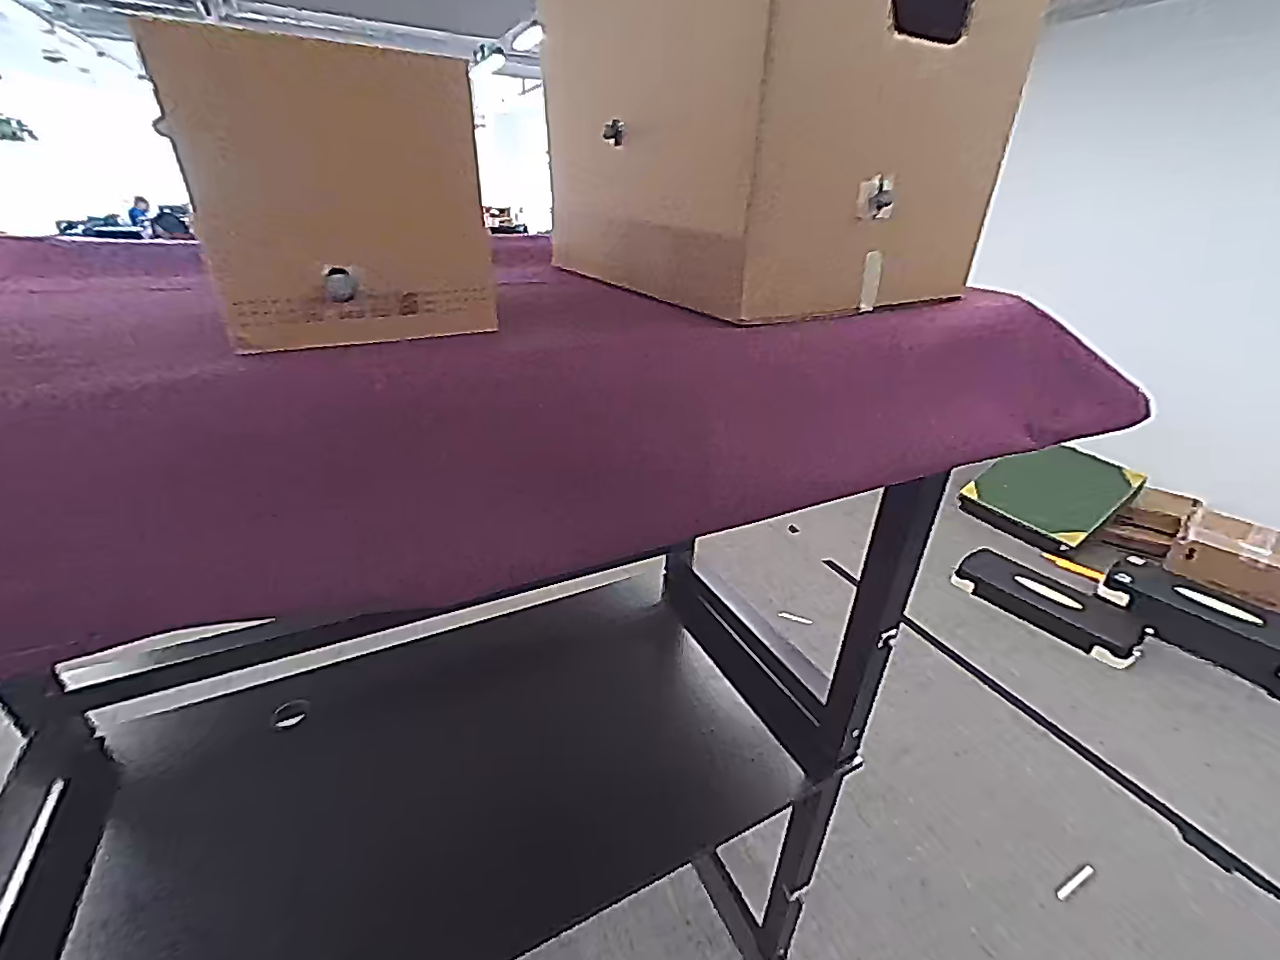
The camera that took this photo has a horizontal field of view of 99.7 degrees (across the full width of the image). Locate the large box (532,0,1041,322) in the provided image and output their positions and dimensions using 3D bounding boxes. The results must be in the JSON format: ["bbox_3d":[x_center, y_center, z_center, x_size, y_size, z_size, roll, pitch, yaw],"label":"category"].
[{"bbox_3d":[0.111,-0.369,0.576,0.320,0.320,0.408,-14,31,-27],"label":"large box"}]

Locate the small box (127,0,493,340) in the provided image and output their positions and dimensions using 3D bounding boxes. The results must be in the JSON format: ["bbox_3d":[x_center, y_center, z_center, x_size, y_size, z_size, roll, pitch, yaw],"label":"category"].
[{"bbox_3d":[-0.216,-0.205,0.391,0.168,0.176,0.179,-15,33,-27],"label":"small box"}]
